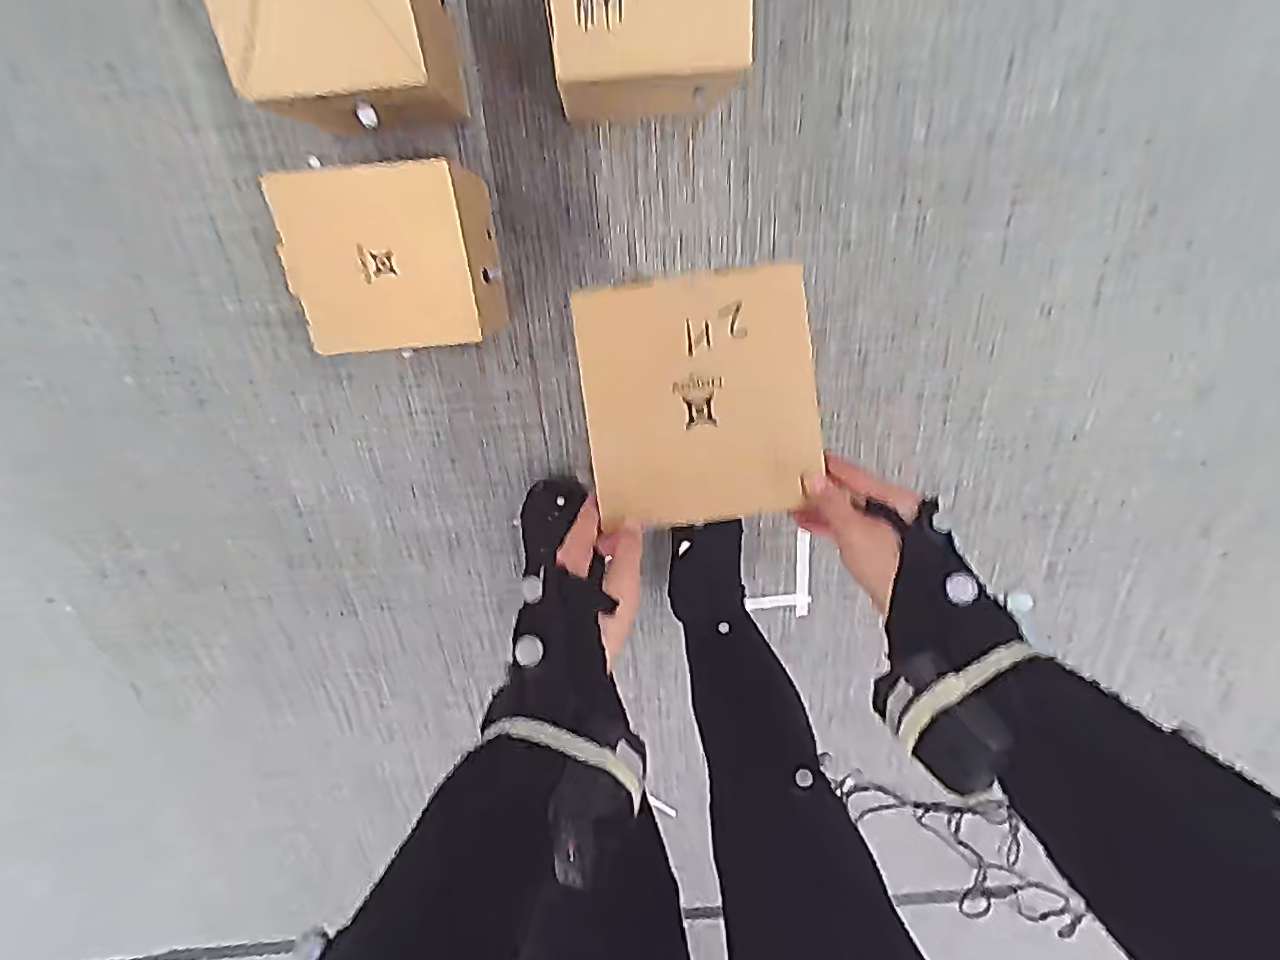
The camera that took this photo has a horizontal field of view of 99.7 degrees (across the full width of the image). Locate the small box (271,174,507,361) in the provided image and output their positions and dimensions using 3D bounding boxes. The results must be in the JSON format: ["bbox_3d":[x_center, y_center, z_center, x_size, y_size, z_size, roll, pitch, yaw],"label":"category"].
[{"bbox_3d":[-0.254,-0.237,0.605,0.179,0.176,0.168,-5,114,0],"label":"small box"}]

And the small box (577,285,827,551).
[{"bbox_3d":[0.046,-0.047,0.464,0.168,0.176,0.179,-7,92,1],"label":"small box"}]
